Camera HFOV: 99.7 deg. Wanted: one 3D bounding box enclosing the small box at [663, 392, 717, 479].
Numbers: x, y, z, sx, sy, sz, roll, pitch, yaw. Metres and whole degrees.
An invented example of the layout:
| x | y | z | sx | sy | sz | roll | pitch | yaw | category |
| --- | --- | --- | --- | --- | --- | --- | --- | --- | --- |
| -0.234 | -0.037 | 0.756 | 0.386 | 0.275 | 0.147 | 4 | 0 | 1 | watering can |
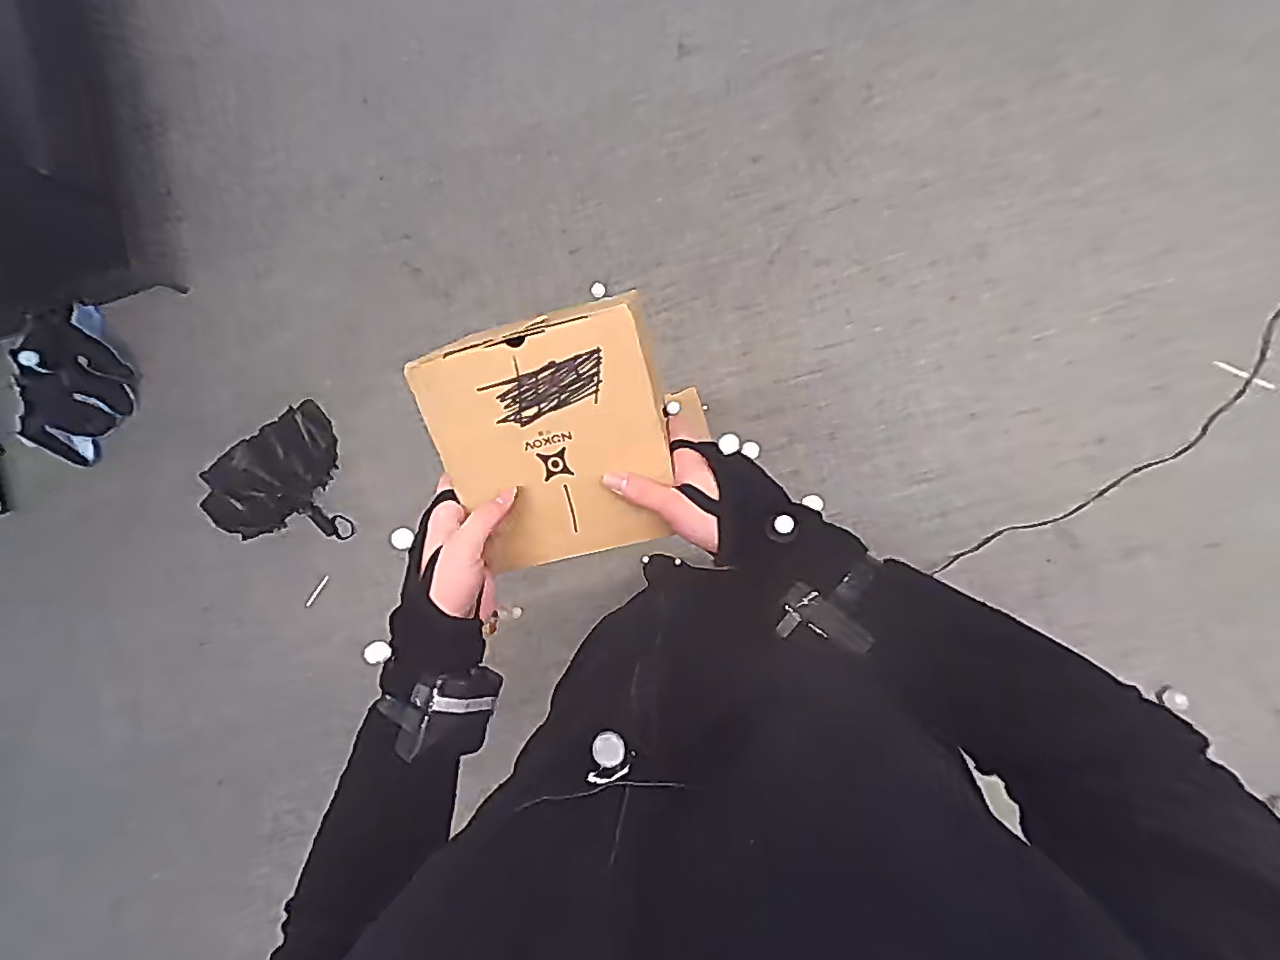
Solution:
| x | y | z | sx | sy | sz | roll | pitch | yaw | category |
| --- | --- | --- | --- | --- | --- | --- | --- | --- | --- |
| 0.088 | -0.098 | 1.361 | 0.168 | 0.176 | 0.179 | -20 | 85 | 6 | small box |

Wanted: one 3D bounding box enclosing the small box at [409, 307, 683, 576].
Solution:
| x | y | z | sx | sy | sz | roll | pitch | yaw | category |
| --- | --- | --- | --- | --- | --- | --- | --- | --- | --- |
| -0.064 | -0.047 | 0.477 | 0.168 | 0.176 | 0.179 | -14 | 111 | 8 | small box |
